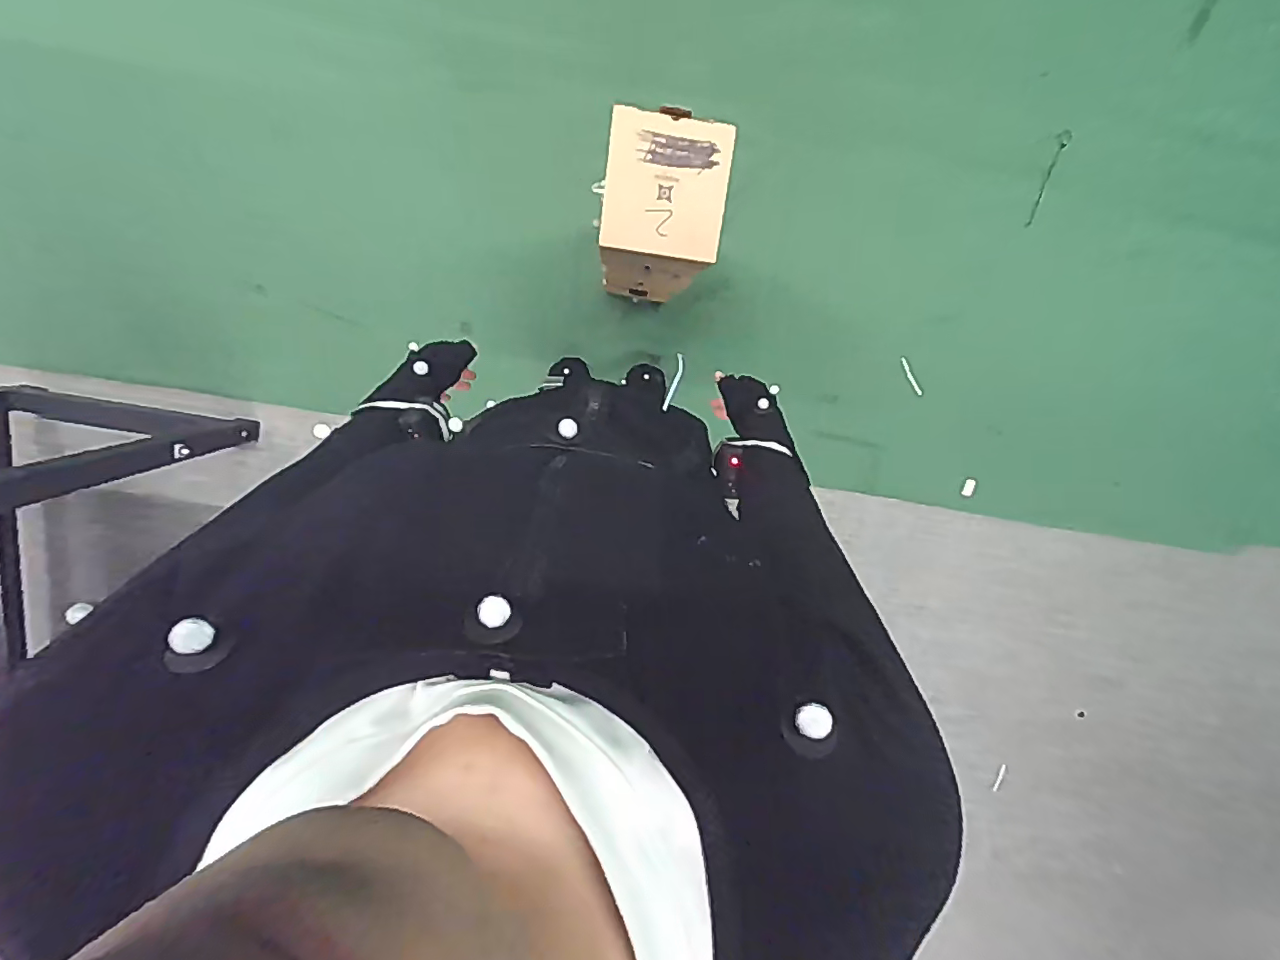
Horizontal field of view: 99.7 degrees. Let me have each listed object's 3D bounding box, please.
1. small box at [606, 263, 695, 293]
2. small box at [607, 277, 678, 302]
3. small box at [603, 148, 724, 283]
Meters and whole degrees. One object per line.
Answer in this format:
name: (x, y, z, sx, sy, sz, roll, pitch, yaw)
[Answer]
small box: (0.030, -0.491, 1.114, 0.179, 0.176, 0.168, 11, 101, -6)
small box: (0.017, -0.529, 1.275, 0.168, 0.176, 0.179, 9, 103, -4)
small box: (0.033, -0.454, 0.958, 0.179, 0.176, 0.168, 8, 103, -5)
